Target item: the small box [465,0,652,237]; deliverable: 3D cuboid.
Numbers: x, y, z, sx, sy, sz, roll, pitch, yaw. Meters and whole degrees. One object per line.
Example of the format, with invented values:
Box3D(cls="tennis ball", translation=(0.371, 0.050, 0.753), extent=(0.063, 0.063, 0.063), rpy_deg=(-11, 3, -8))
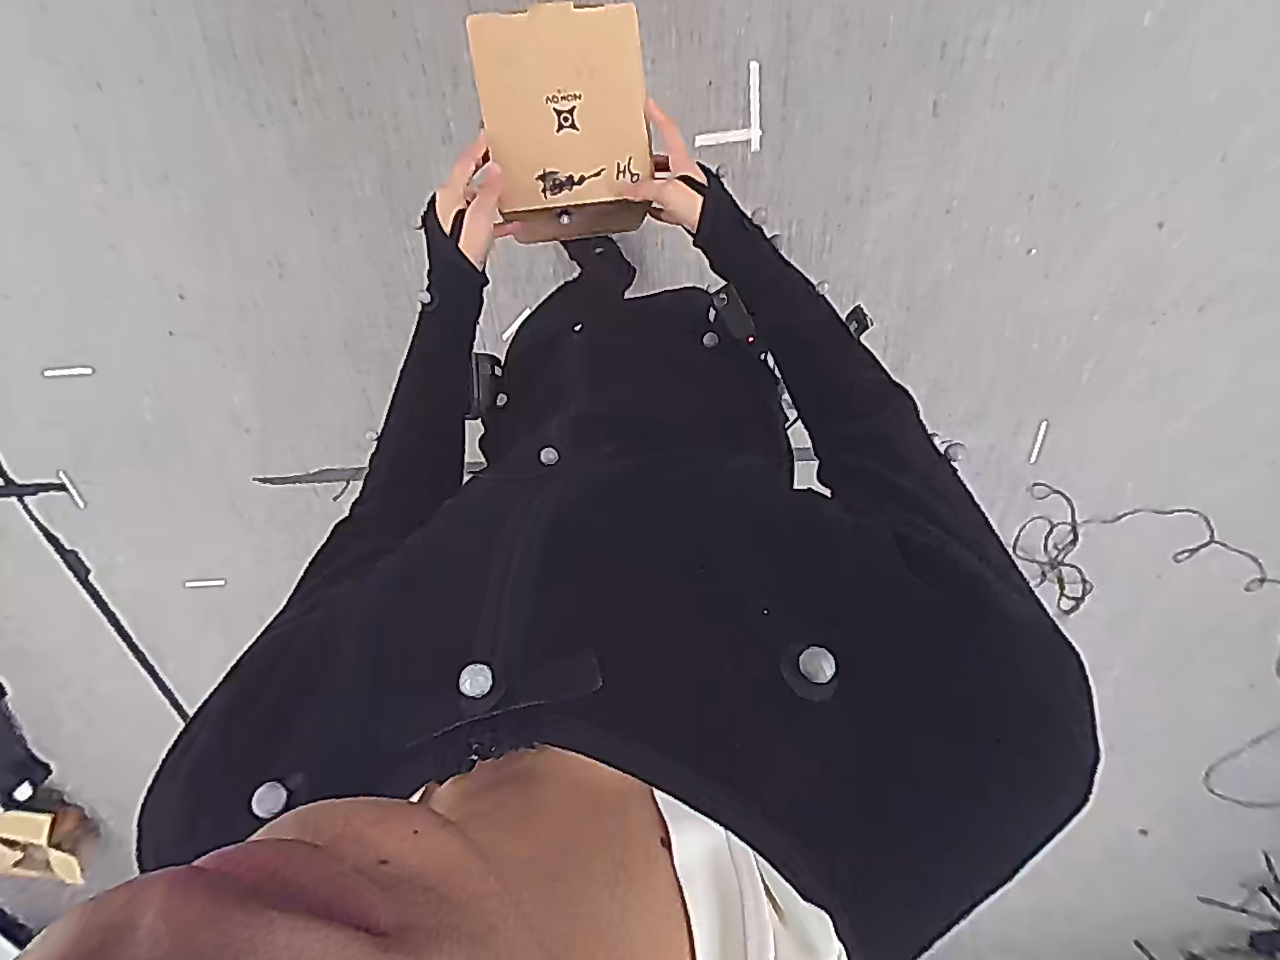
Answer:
Box3D(cls="small box", translation=(-0.085, -0.388, 0.605), extent=(0.168, 0.176, 0.179), rpy_deg=(-7, 104, -4))
